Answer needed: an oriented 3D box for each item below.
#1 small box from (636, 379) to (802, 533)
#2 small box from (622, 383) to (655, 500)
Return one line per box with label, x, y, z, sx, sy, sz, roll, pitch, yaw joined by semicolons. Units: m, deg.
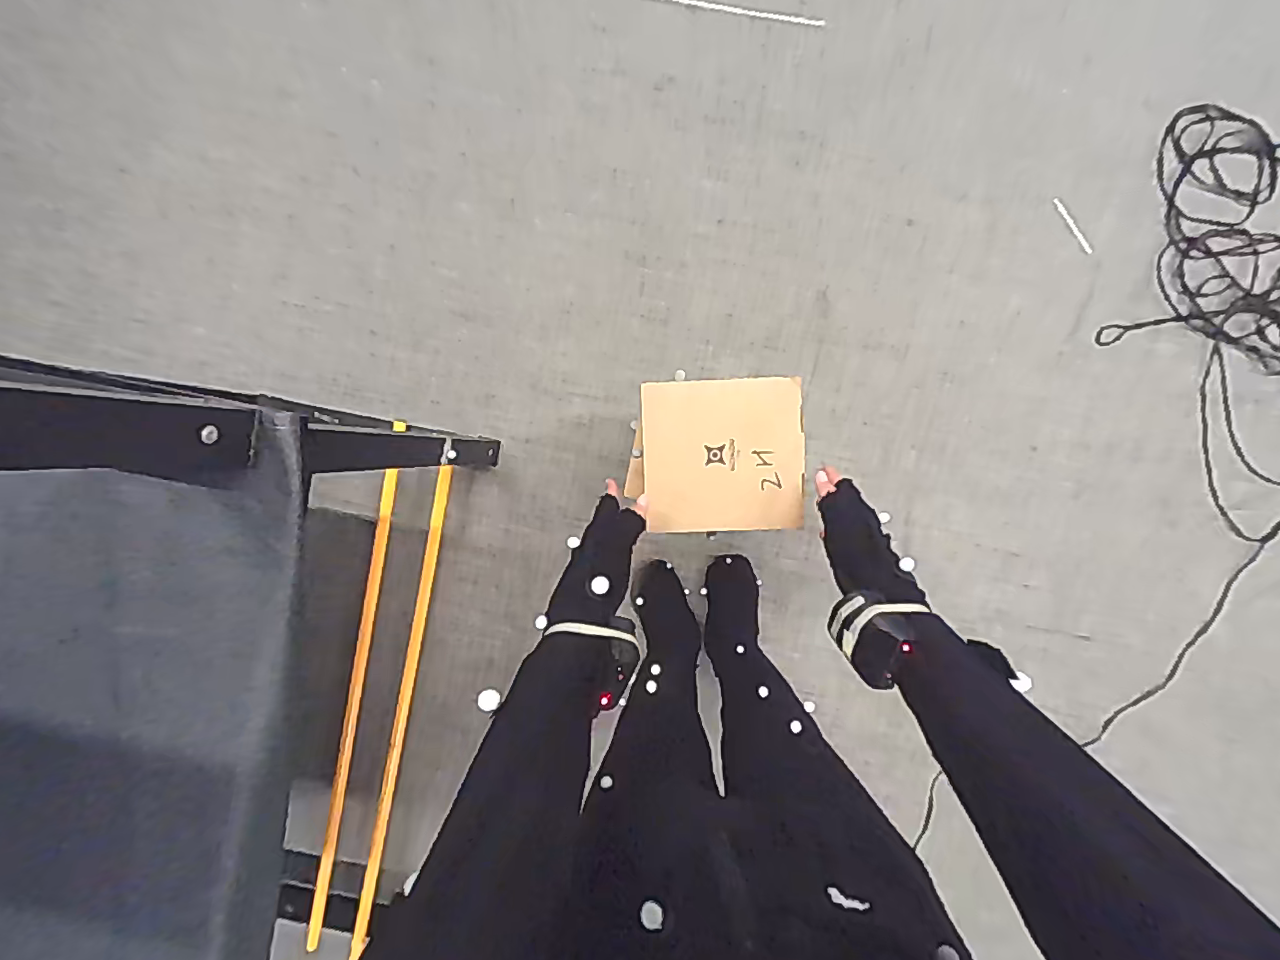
small box;0.090;-0.029;0.660;0.179;0.176;0.168;-2;94;3
small box;0.080;-0.042;0.823;0.179;0.176;0.168;11;94;2
